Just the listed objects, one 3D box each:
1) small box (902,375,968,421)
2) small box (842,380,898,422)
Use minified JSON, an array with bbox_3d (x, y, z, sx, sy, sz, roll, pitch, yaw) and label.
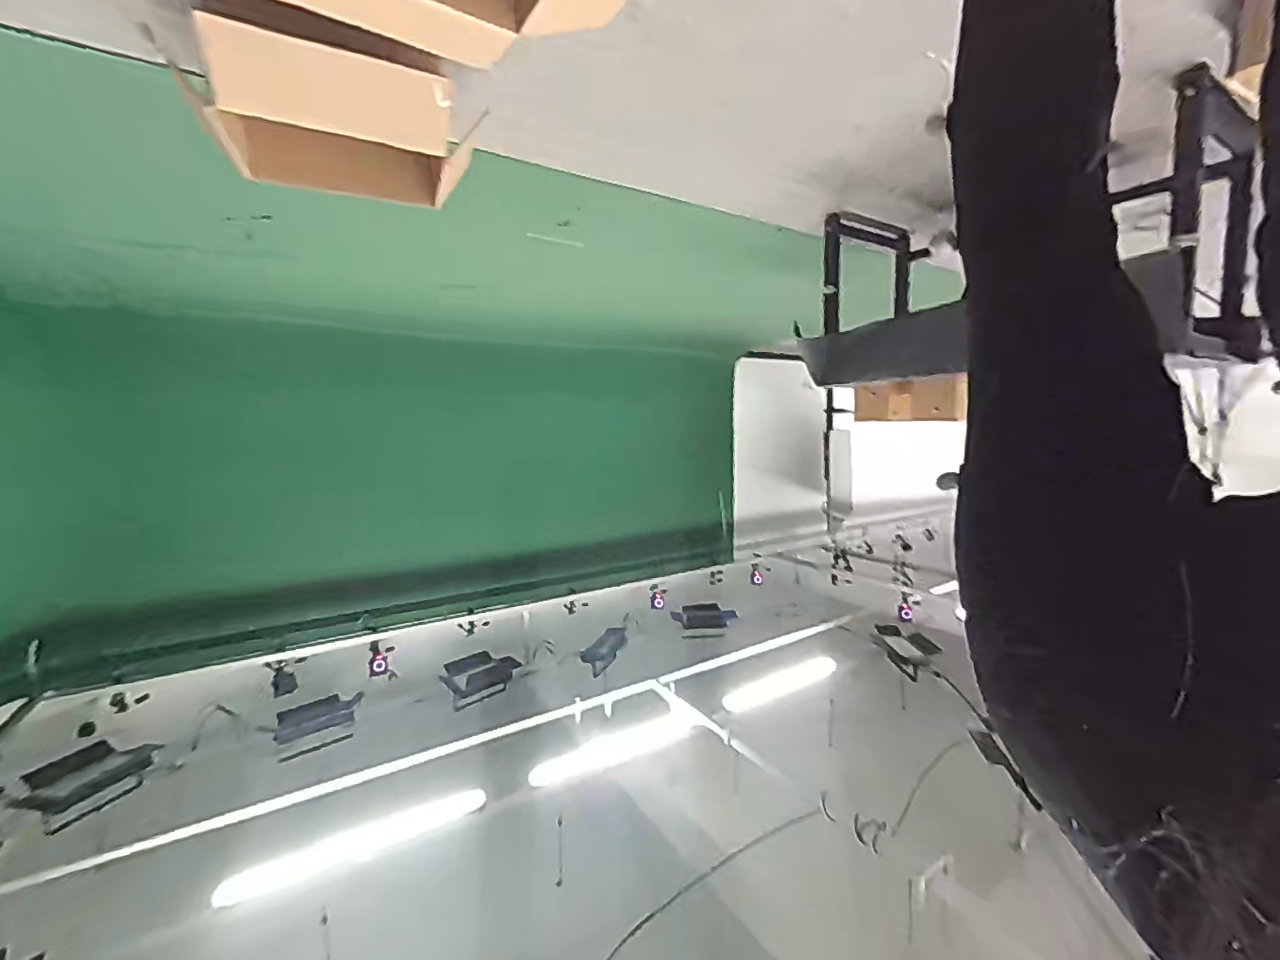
[{"bbox_3d":[1.151,-0.320,2.112,0.168,0.176,0.179,-5,-173,-30],"label":"small box"},{"bbox_3d":[0.990,-0.338,2.318,0.179,0.176,0.168,-5,-173,-36],"label":"small box"}]
